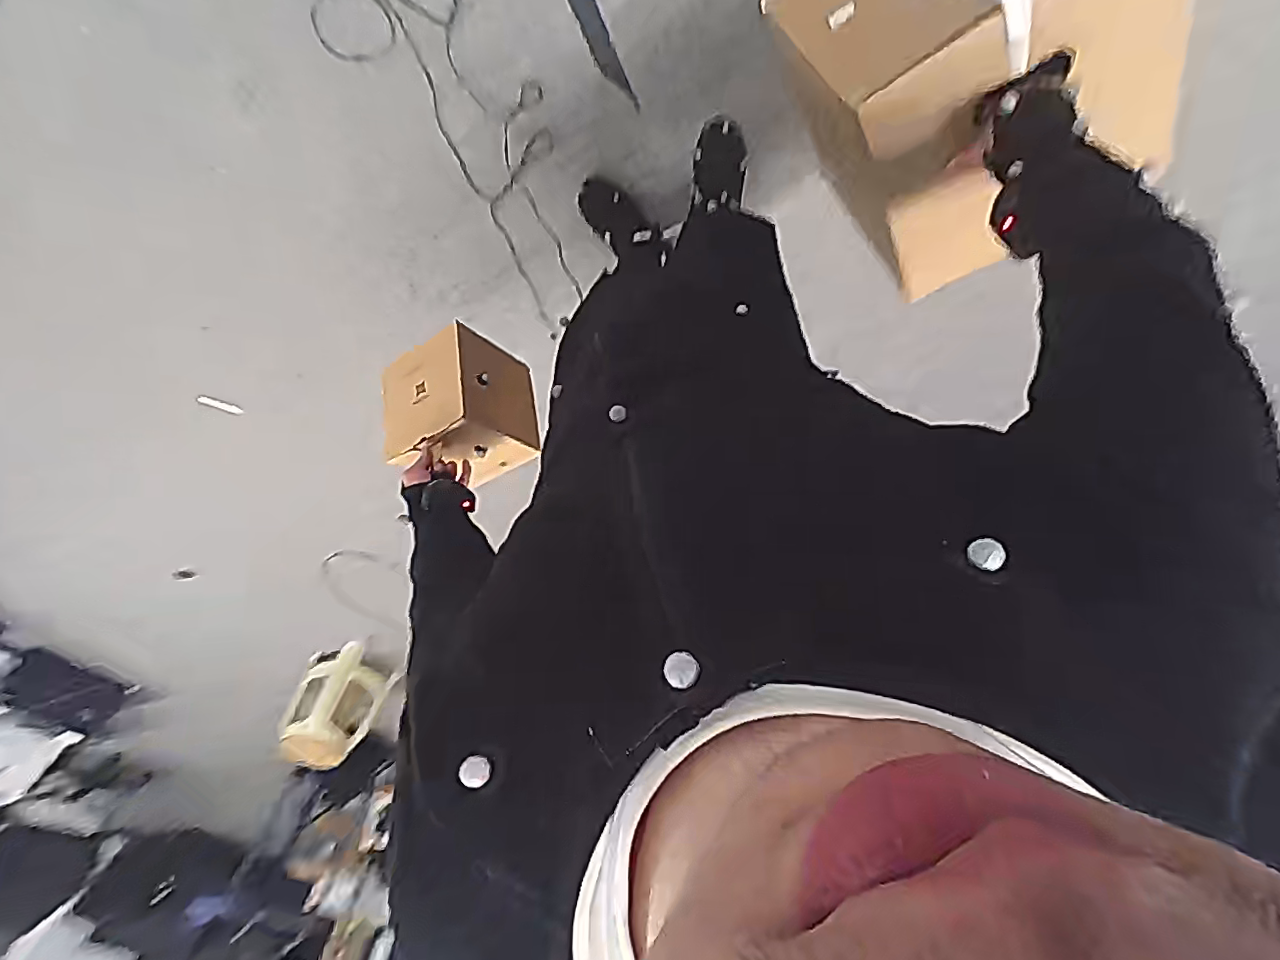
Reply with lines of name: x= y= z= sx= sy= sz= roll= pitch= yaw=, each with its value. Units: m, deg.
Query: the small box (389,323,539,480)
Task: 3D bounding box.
small box: x=-0.281 y=-0.112 z=0.878 sx=0.168 sy=0.179 sz=0.176 roll=-23 pitch=154 yaw=23
